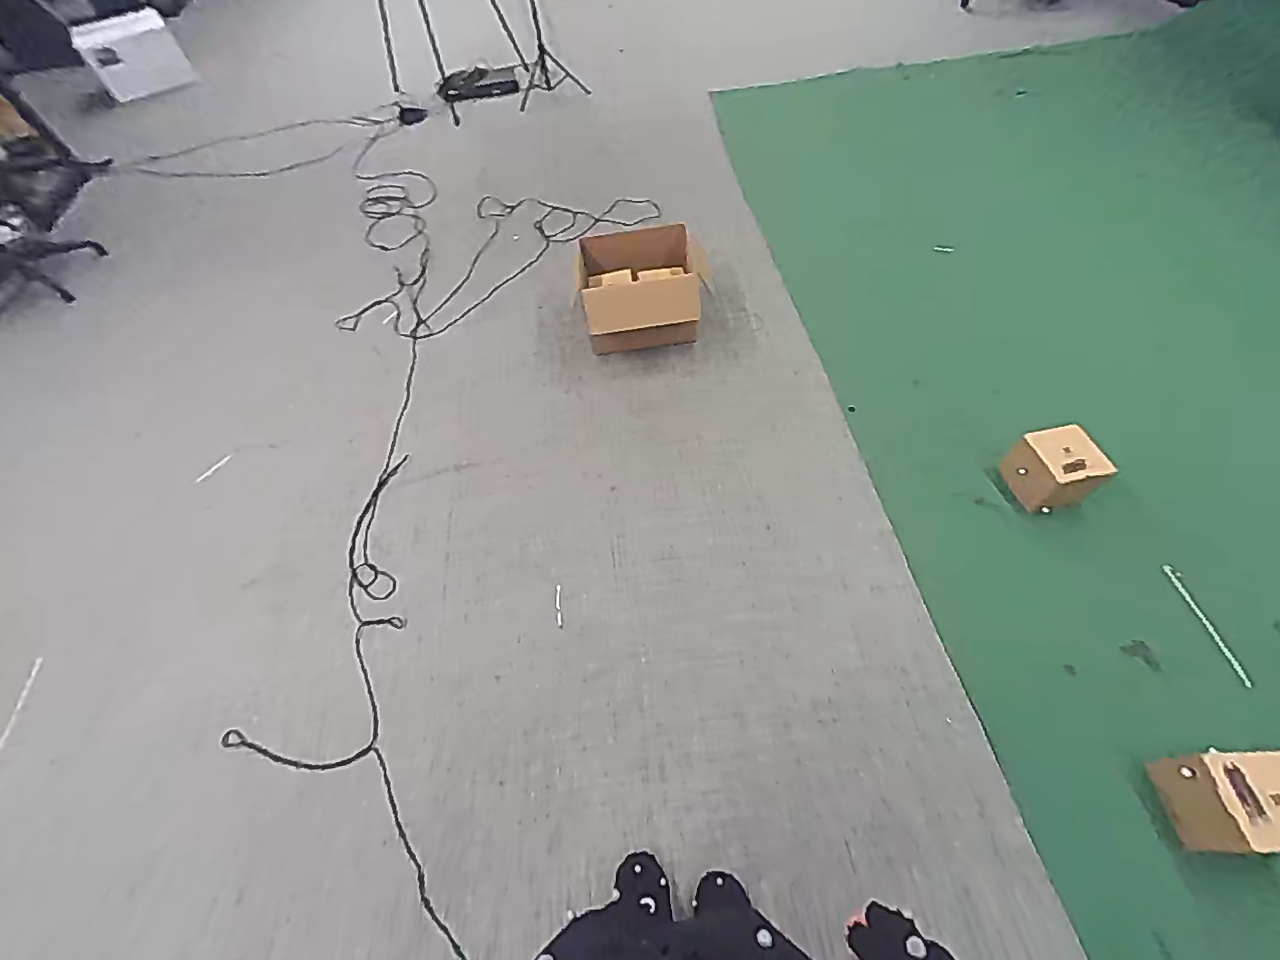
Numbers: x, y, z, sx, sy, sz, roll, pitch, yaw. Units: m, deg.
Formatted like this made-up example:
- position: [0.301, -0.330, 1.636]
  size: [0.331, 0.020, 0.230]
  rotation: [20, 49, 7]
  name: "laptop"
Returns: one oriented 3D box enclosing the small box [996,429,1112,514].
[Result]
- position: [1.179, -0.016, 1.555]
  size: [0.168, 0.176, 0.179]
  rotation: [-11, 55, -2]
  name: "small box"
